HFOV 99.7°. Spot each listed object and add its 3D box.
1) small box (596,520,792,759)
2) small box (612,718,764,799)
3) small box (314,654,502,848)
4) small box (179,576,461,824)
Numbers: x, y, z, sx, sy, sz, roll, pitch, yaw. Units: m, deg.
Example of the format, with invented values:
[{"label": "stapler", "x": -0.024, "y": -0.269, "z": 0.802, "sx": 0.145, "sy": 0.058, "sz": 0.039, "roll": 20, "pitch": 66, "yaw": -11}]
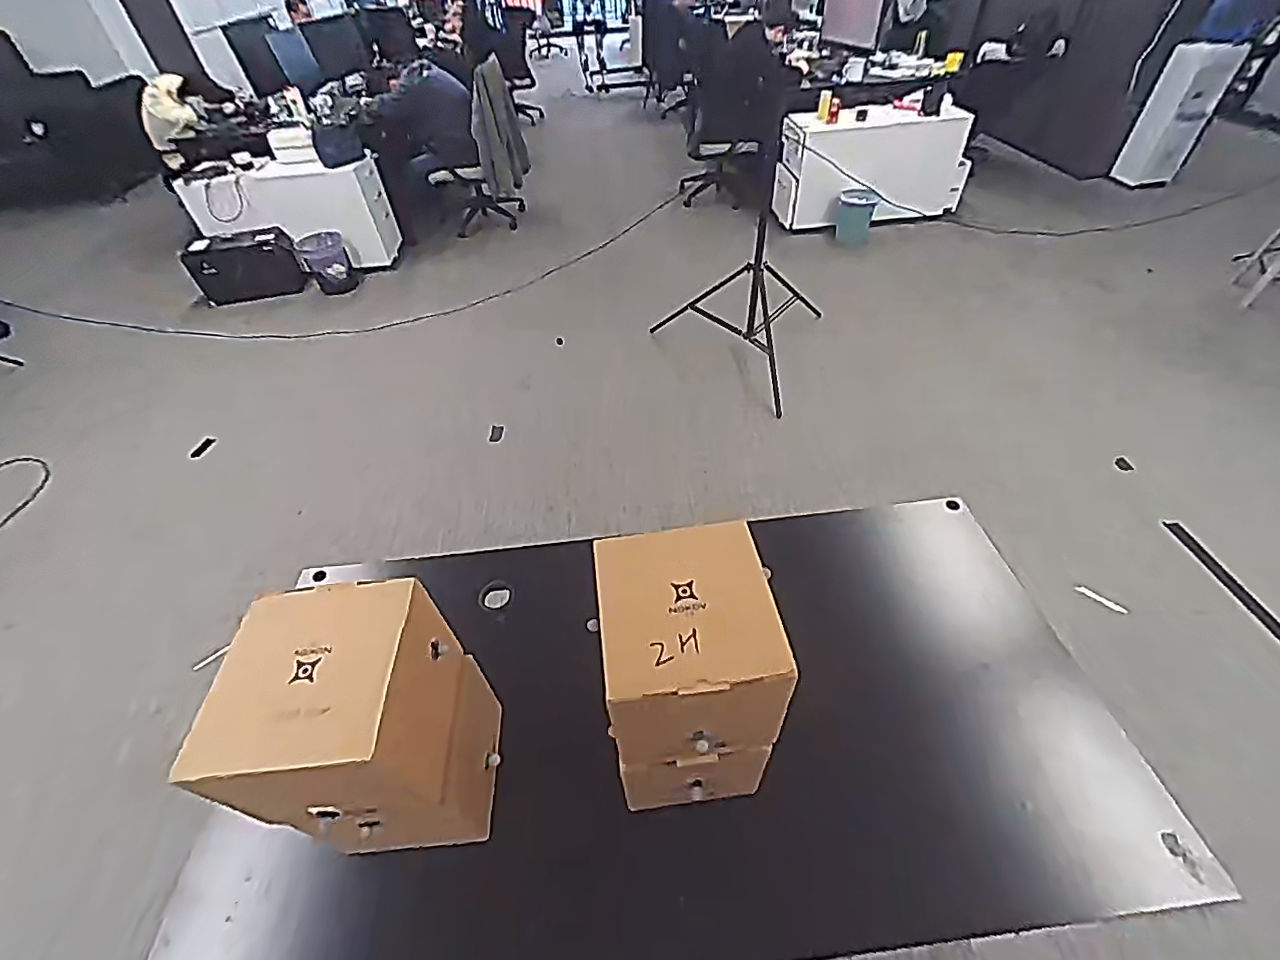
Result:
[{"label": "small box", "x": 0.045, "y": 0.168, "z": 0.576, "sx": 0.168, "sy": 0.176, "sz": 0.179, "roll": -8, "pitch": 45, "yaw": -2}, {"label": "small box", "x": 0.051, "y": 0.288, "z": 0.691, "sx": 0.168, "sy": 0.176, "sz": 0.179, "roll": -7, "pitch": 46, "yaw": -3}, {"label": "small box", "x": -0.283, "y": 0.335, "z": 0.667, "sx": 0.179, "sy": 0.176, "sz": 0.168, "roll": -4, "pitch": 46, "yaw": -2}, {"label": "small box", "x": -0.293, "y": 0.223, "z": 0.550, "sx": 0.168, "sy": 0.176, "sz": 0.179, "roll": -7, "pitch": 47, "yaw": -1}]
